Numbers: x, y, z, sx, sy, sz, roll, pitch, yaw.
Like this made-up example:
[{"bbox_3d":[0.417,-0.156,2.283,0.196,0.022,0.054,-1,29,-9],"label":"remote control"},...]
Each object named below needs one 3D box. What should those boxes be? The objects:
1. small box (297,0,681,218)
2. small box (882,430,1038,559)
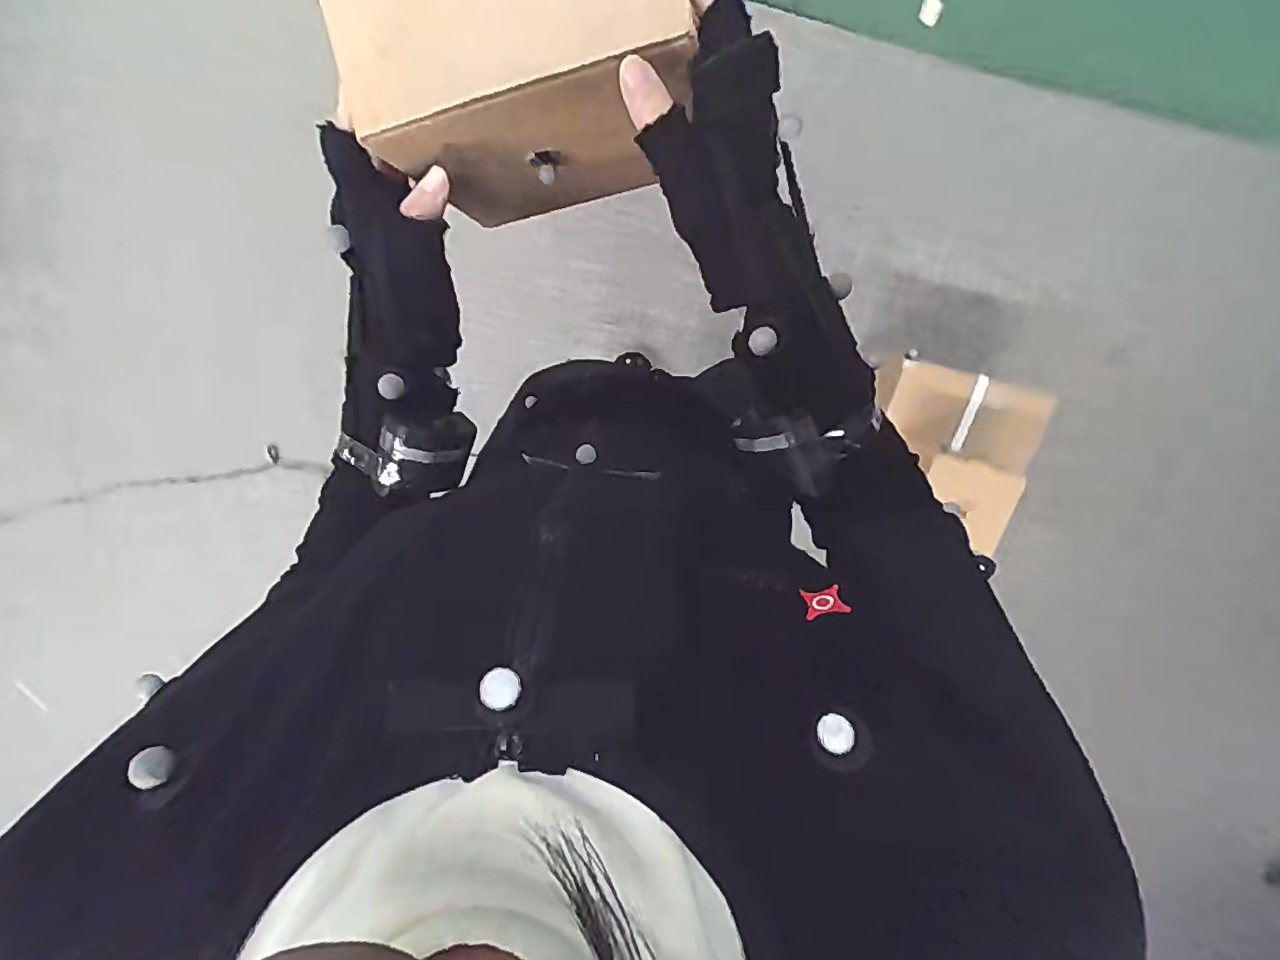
[{"bbox_3d":[-0.076,-0.281,0.322,0.179,0.176,0.168,-12,99,12],"label":"small box"},{"bbox_3d":[0.581,0.017,1.012,0.168,0.176,0.179,15,108,1],"label":"small box"}]
